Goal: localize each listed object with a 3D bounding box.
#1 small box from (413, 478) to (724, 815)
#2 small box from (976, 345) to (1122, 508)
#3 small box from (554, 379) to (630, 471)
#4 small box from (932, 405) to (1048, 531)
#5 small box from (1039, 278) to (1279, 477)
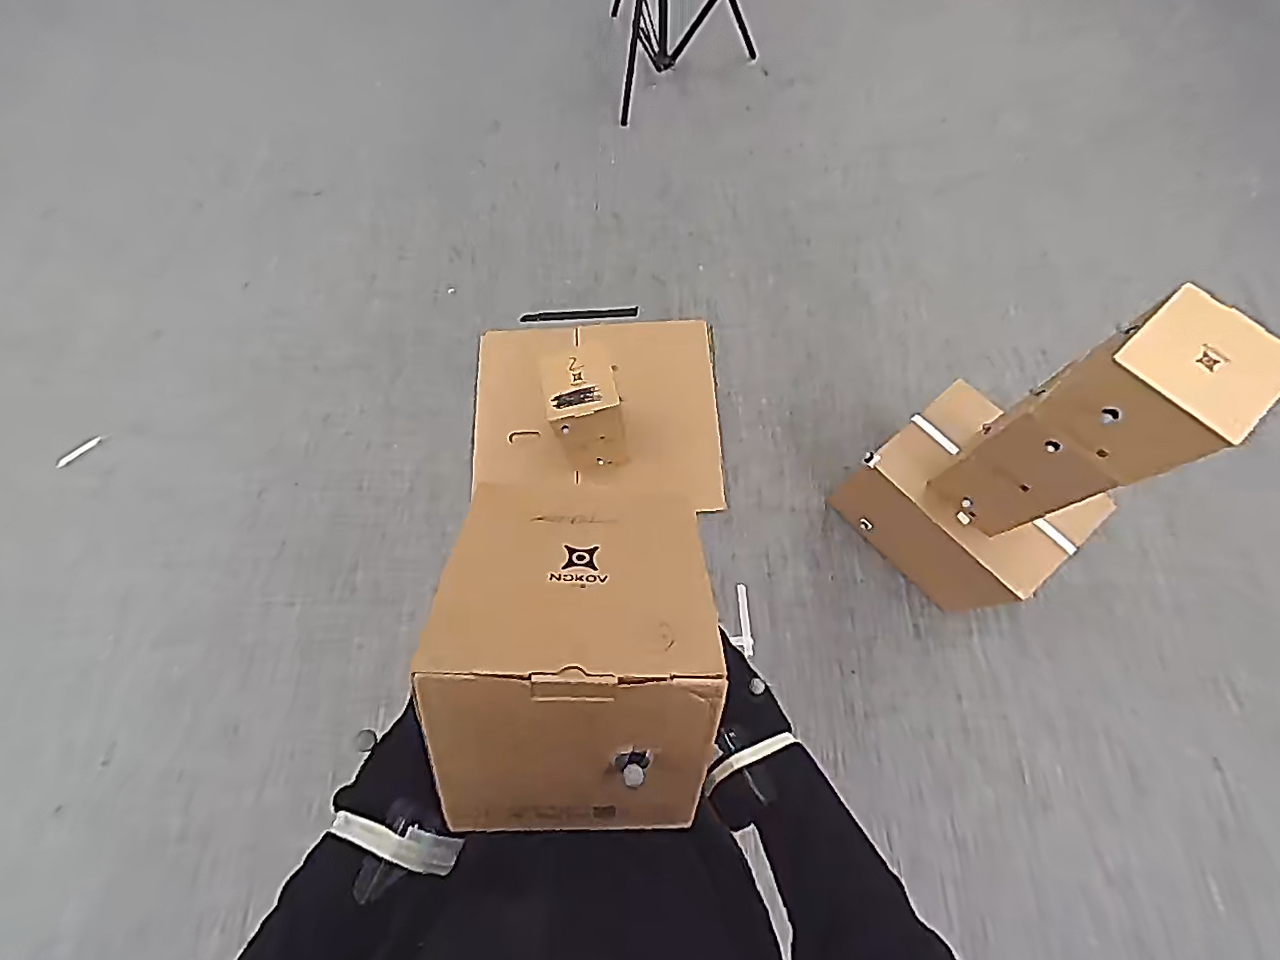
[{"bbox_3d":[-0.044,0.117,0.392,0.168,0.176,0.179,3,33,-5],"label":"small box"},{"bbox_3d":[0.715,-0.083,0.908,0.179,0.176,0.168,-41,74,-12],"label":"small box"},{"bbox_3d":[-0.125,-0.144,1.453,0.168,0.176,0.179,-12,71,1],"label":"small box"},{"bbox_3d":[0.719,-0.027,1.062,0.179,0.176,0.168,-41,74,-11],"label":"small box"},{"bbox_3d":[0.710,-0.132,0.752,0.179,0.176,0.168,-41,74,-11],"label":"small box"}]
